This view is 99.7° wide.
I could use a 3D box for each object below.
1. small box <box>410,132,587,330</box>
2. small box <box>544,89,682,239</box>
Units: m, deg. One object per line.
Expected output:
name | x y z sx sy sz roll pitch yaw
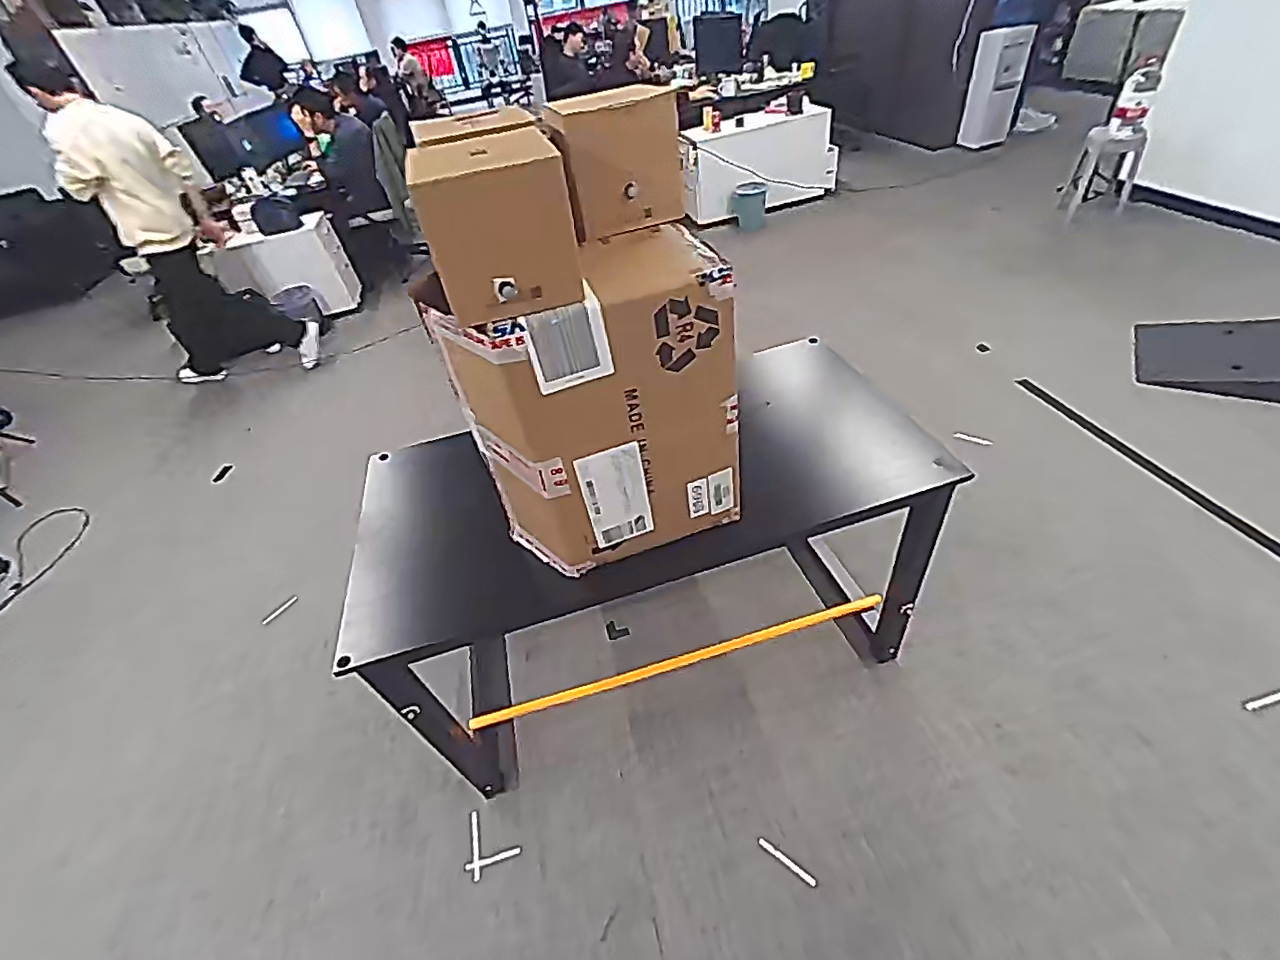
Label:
small box | -0.175 -0.314 0.681 0.168 0.176 0.179 -18 45 -9
small box | -0.042 -0.501 0.859 0.168 0.176 0.179 -18 41 -8
